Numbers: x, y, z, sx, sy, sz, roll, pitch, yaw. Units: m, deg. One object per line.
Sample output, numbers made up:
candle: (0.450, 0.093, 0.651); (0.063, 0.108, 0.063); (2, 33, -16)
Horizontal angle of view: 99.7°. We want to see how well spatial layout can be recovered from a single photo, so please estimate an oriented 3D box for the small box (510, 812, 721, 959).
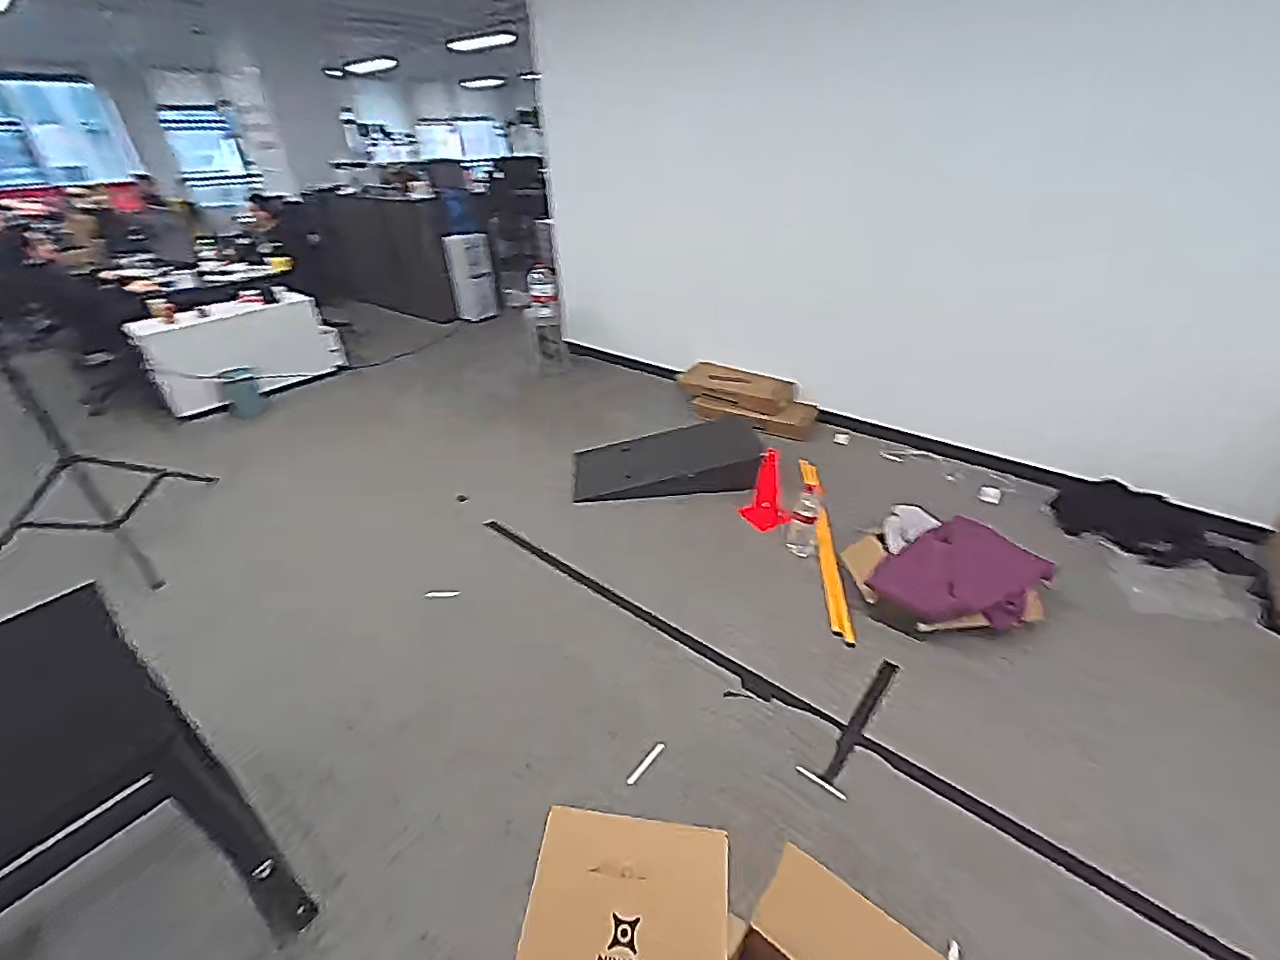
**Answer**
small box: (-0.019, 0.428, 0.476); (0.168, 0.176, 0.179); (5, 38, 4)
